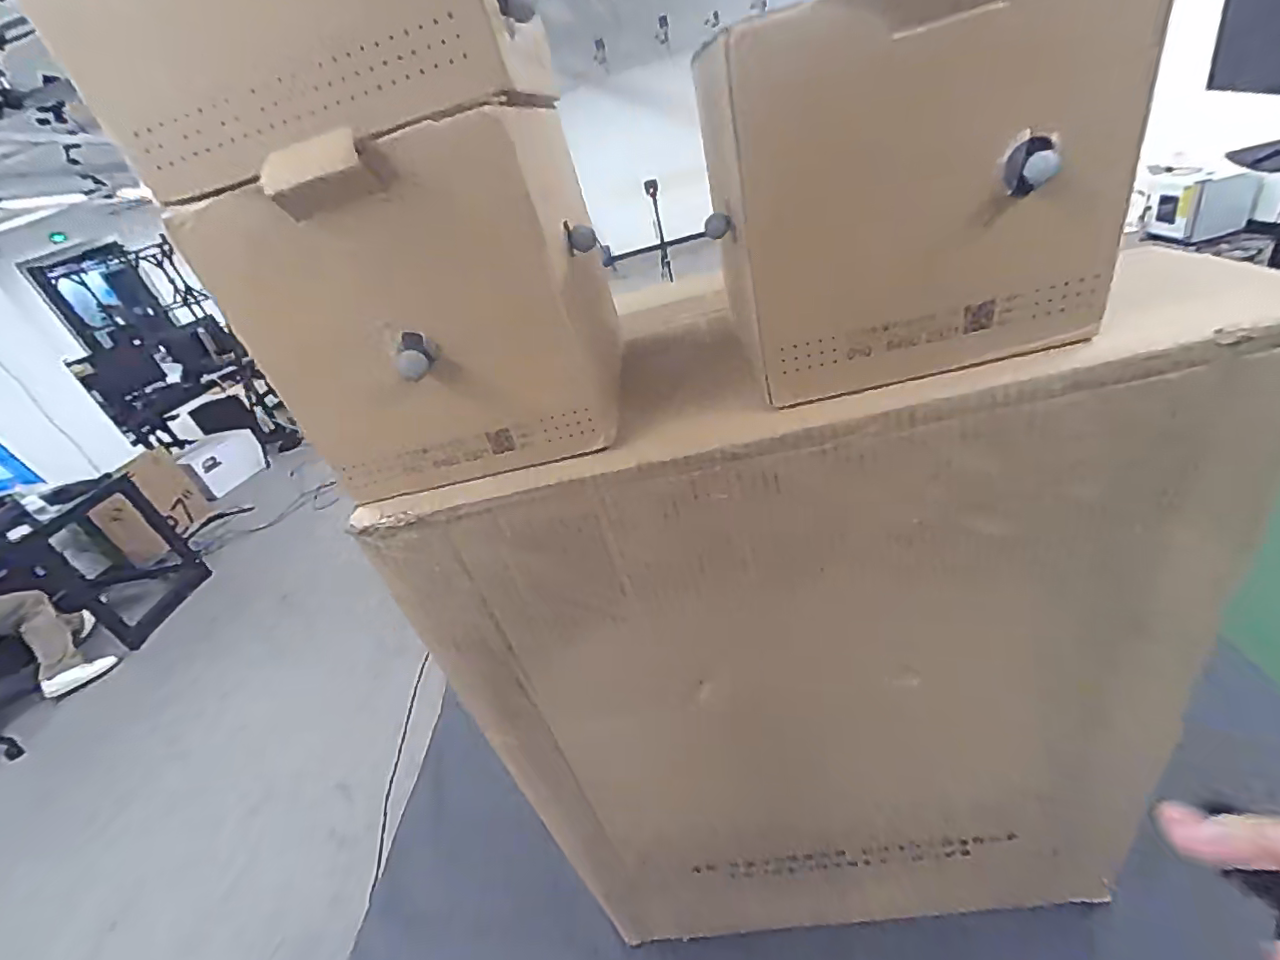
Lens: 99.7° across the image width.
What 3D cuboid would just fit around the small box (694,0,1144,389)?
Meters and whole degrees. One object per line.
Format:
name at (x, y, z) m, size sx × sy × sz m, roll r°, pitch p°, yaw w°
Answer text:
small box at (0.129, -0.162, 0.308) m, size 0.168 × 0.176 × 0.179 m, roll -10°, pitch 32°, yaw 7°

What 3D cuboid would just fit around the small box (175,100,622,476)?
small box at (-0.112, -0.116, 0.344) m, size 0.168 × 0.176 × 0.179 m, roll -11°, pitch 34°, yaw 9°

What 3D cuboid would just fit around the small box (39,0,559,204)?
small box at (-0.153, -0.253, 0.260) m, size 0.179 × 0.176 × 0.168 m, roll -12°, pitch 33°, yaw 9°
